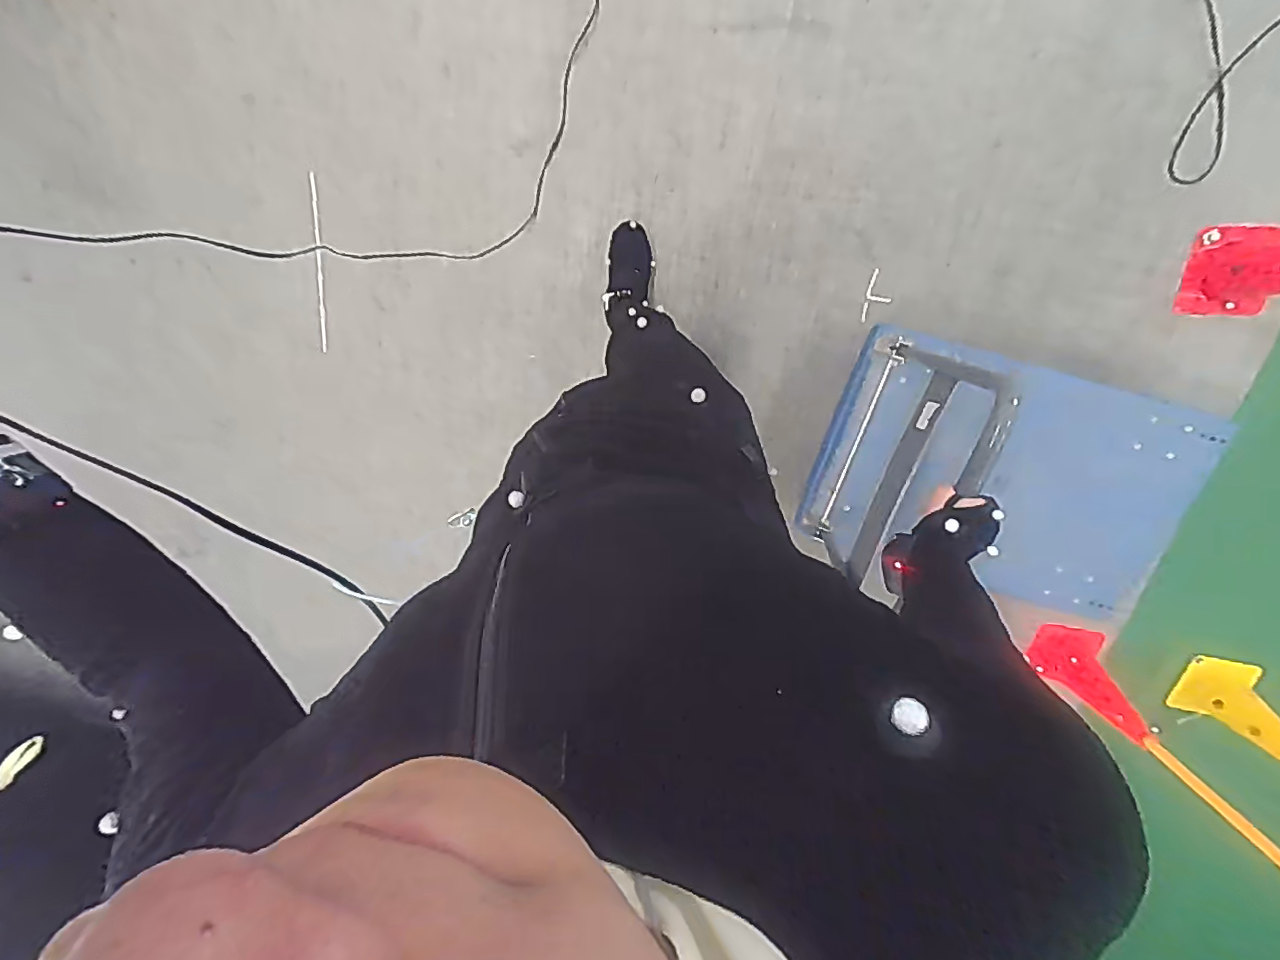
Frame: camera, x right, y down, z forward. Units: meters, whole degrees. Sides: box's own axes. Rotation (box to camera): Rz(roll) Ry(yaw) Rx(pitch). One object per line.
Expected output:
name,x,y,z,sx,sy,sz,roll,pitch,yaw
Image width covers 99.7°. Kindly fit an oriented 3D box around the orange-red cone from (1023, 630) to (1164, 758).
orange-red cone,1.292,0.612,1.498,0.199,0.360,0.198,10,111,1
